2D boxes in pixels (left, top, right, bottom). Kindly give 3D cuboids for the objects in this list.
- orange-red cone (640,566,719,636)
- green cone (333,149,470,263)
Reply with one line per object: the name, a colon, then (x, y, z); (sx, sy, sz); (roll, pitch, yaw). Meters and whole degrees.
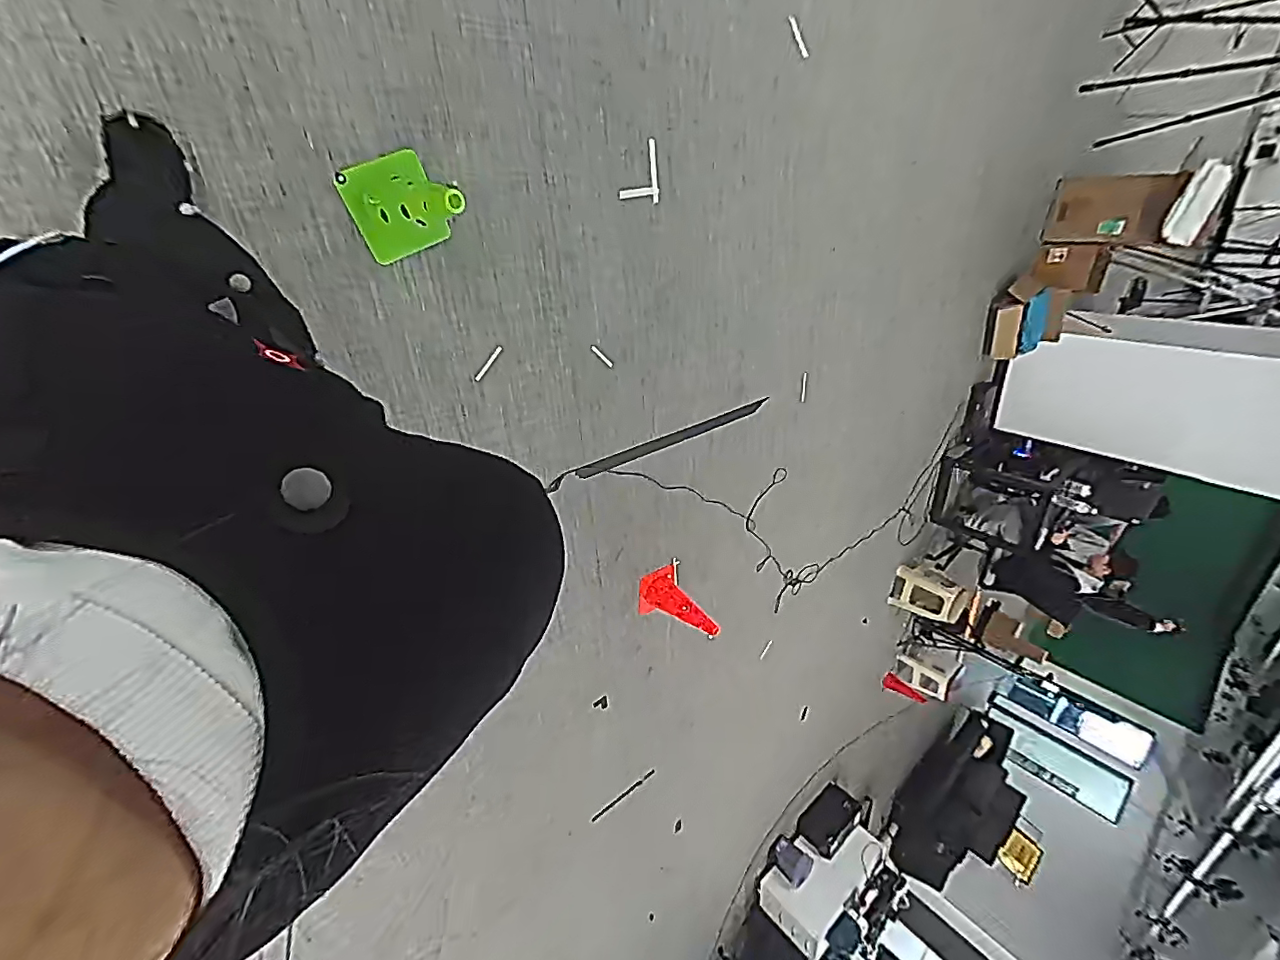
orange-red cone: (0.183, 0.536, 2.229); (0.199, 0.360, 0.198); (-16, 118, -36)
green cone: (-0.455, -0.574, 1.129); (0.202, 0.368, 0.200); (-39, 131, -24)
